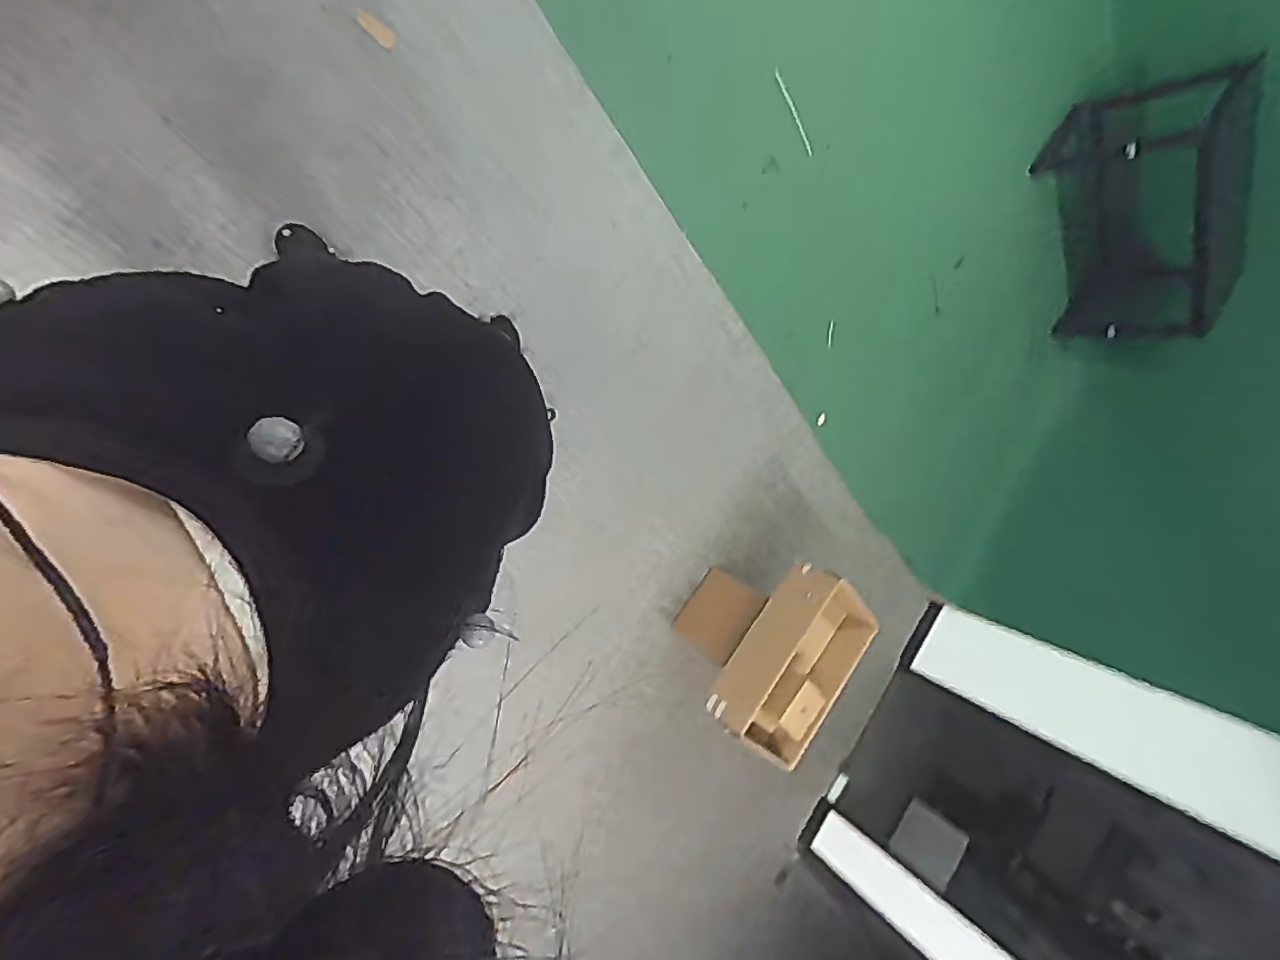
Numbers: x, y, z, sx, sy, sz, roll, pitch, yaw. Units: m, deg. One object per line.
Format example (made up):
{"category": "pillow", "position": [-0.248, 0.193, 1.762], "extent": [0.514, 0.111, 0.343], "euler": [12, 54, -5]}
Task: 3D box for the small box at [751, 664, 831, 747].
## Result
{"category": "small box", "position": [0.504, 0.751, 1.820], "extent": [0.168, 0.176, 0.179], "euler": [-48, 124, -14]}
